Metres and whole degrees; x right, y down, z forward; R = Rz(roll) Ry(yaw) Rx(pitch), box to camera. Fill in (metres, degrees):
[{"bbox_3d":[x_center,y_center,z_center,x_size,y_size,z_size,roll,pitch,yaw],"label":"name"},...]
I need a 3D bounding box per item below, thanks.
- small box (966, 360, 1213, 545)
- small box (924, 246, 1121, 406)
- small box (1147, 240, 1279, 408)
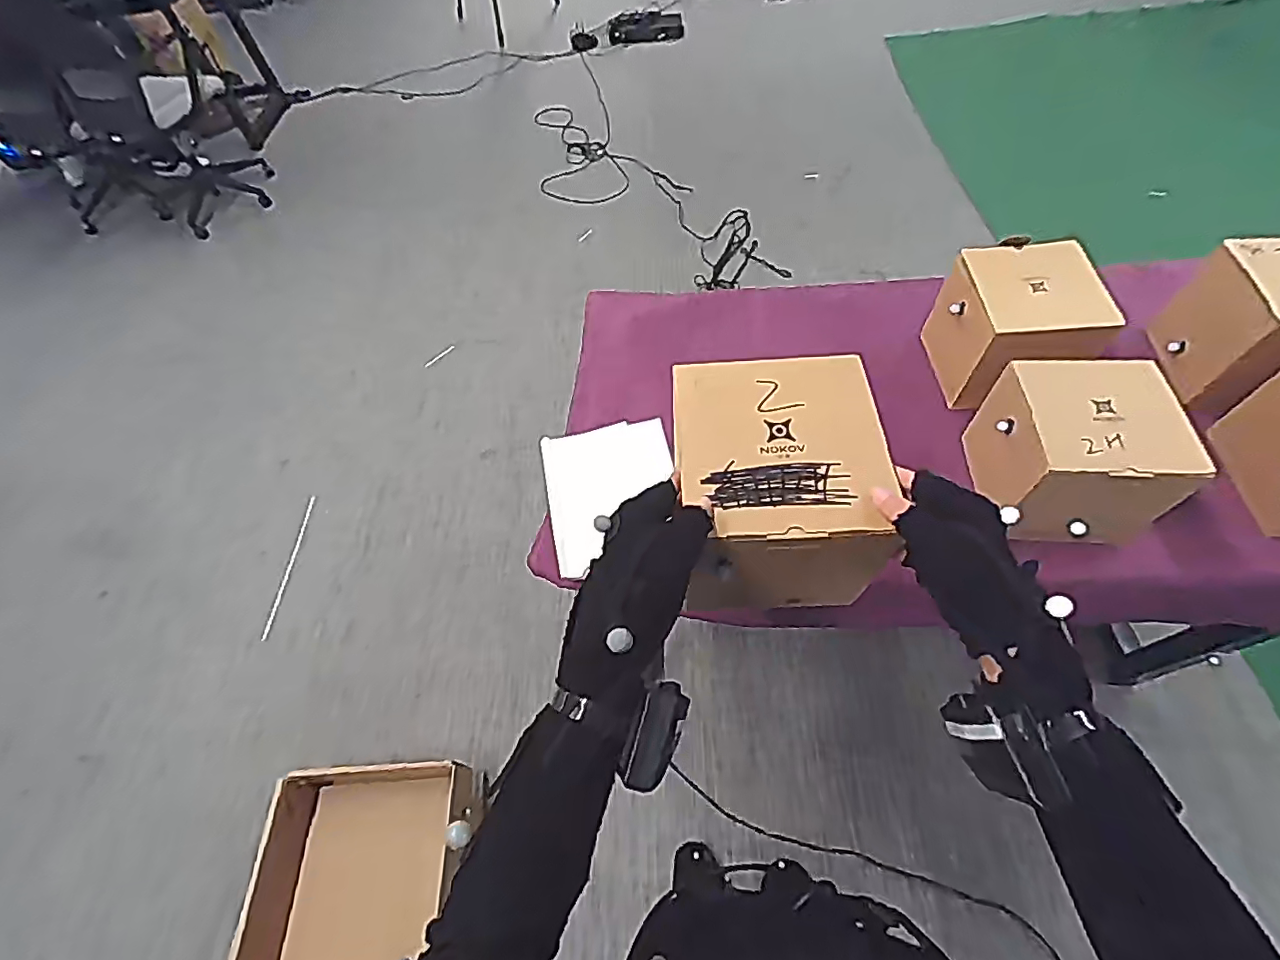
[{"bbox_3d":[0.554,-0.035,0.704,0.168,0.176,0.179,2,57,9],"label":"small box"},{"bbox_3d":[0.564,-0.226,0.829,0.168,0.176,0.179,-3,57,6],"label":"small box"},{"bbox_3d":[0.901,-0.220,0.780,0.168,0.176,0.179,4,59,9],"label":"small box"}]
